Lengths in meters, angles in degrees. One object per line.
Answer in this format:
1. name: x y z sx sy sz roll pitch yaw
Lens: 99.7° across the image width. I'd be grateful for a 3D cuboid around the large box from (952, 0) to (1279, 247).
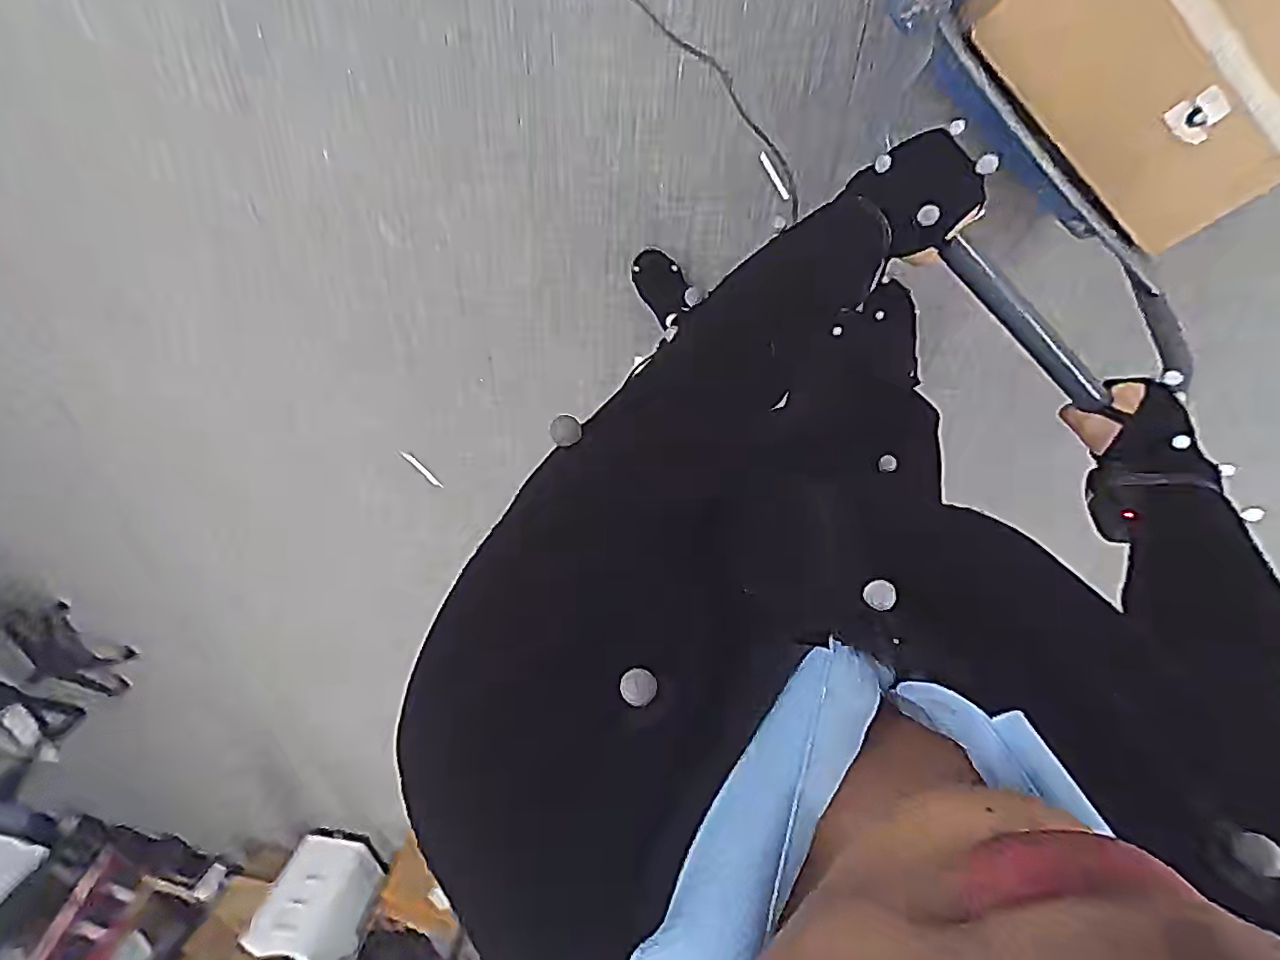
1. large box: 0.692 -0.613 0.719 0.408 0.320 0.320 38 138 -13
